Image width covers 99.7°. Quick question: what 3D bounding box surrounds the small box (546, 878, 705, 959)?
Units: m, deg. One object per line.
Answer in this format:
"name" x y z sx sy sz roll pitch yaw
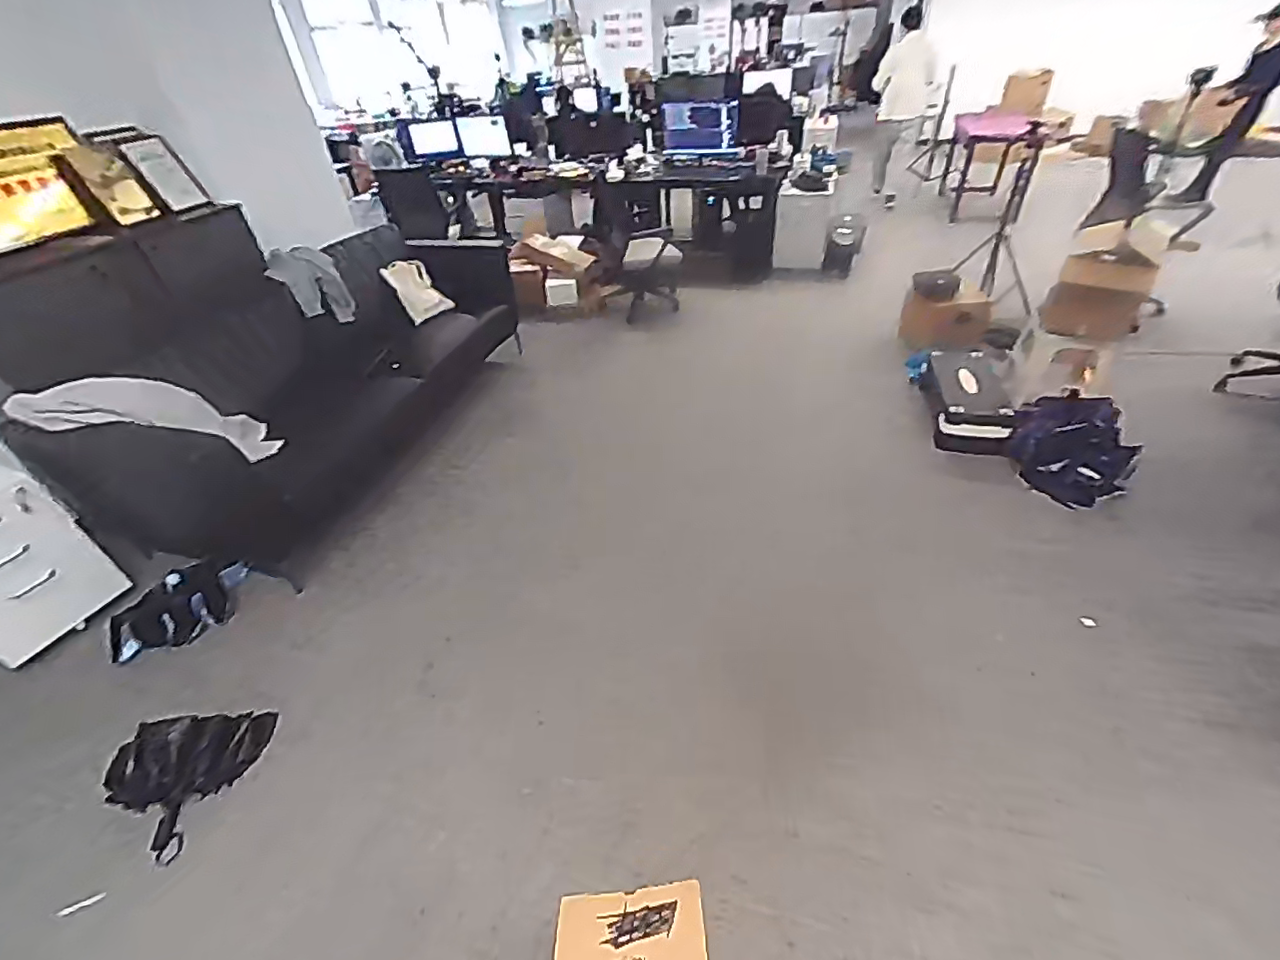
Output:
"small box" -0.007 0.586 0.584 0.168 0.176 0.179 -11 17 2
